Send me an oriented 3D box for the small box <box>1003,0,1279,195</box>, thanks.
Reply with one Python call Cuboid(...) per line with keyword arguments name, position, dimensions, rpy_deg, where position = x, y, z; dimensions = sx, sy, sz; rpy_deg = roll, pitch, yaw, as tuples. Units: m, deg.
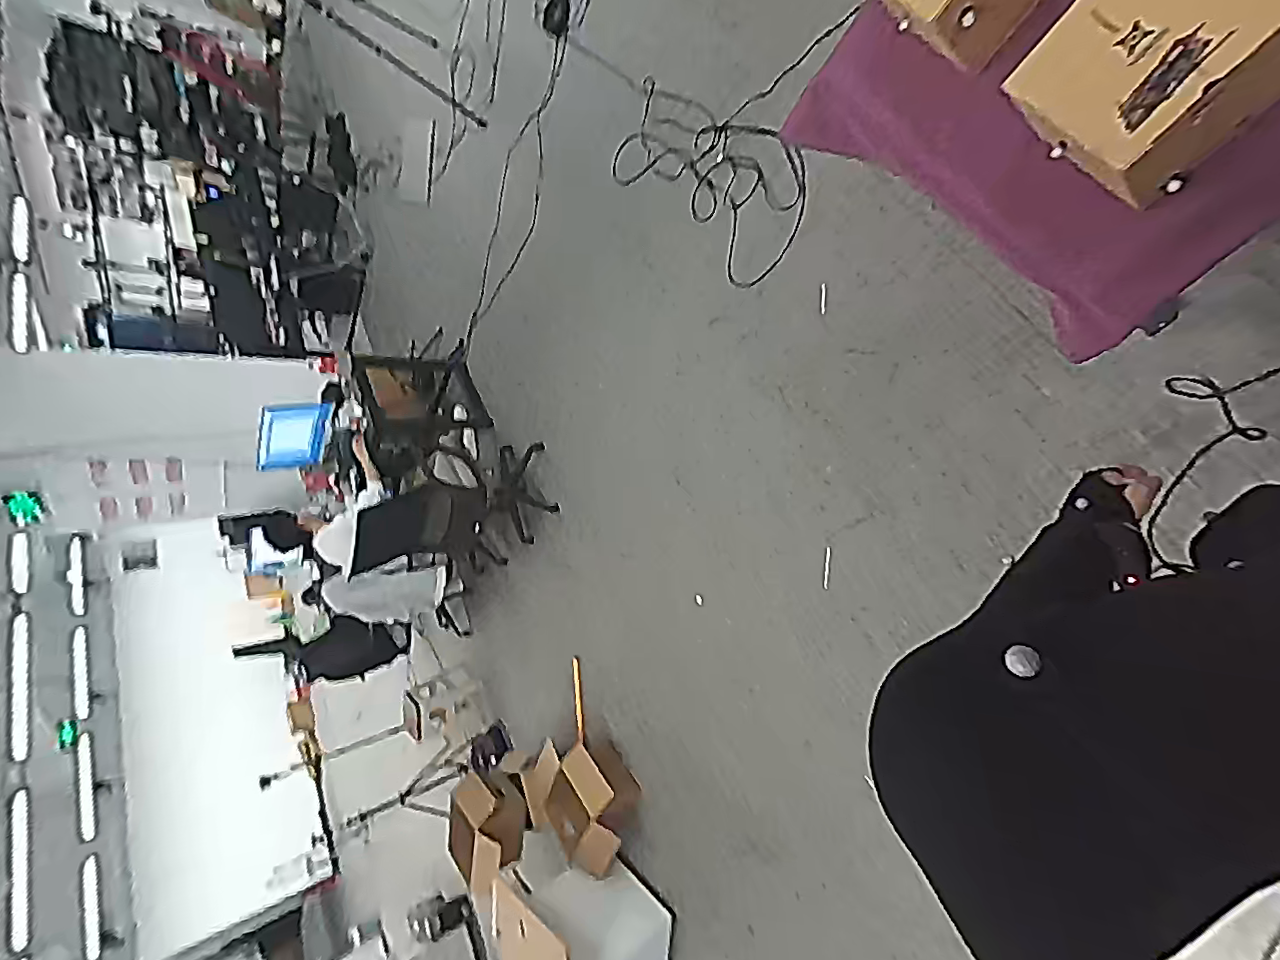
Cuboid(name="small box", position=(0.553, -0.441, 0.589), dimensions=(0.168, 0.176, 0.179), rpy_deg=(-50, 59, 39))
